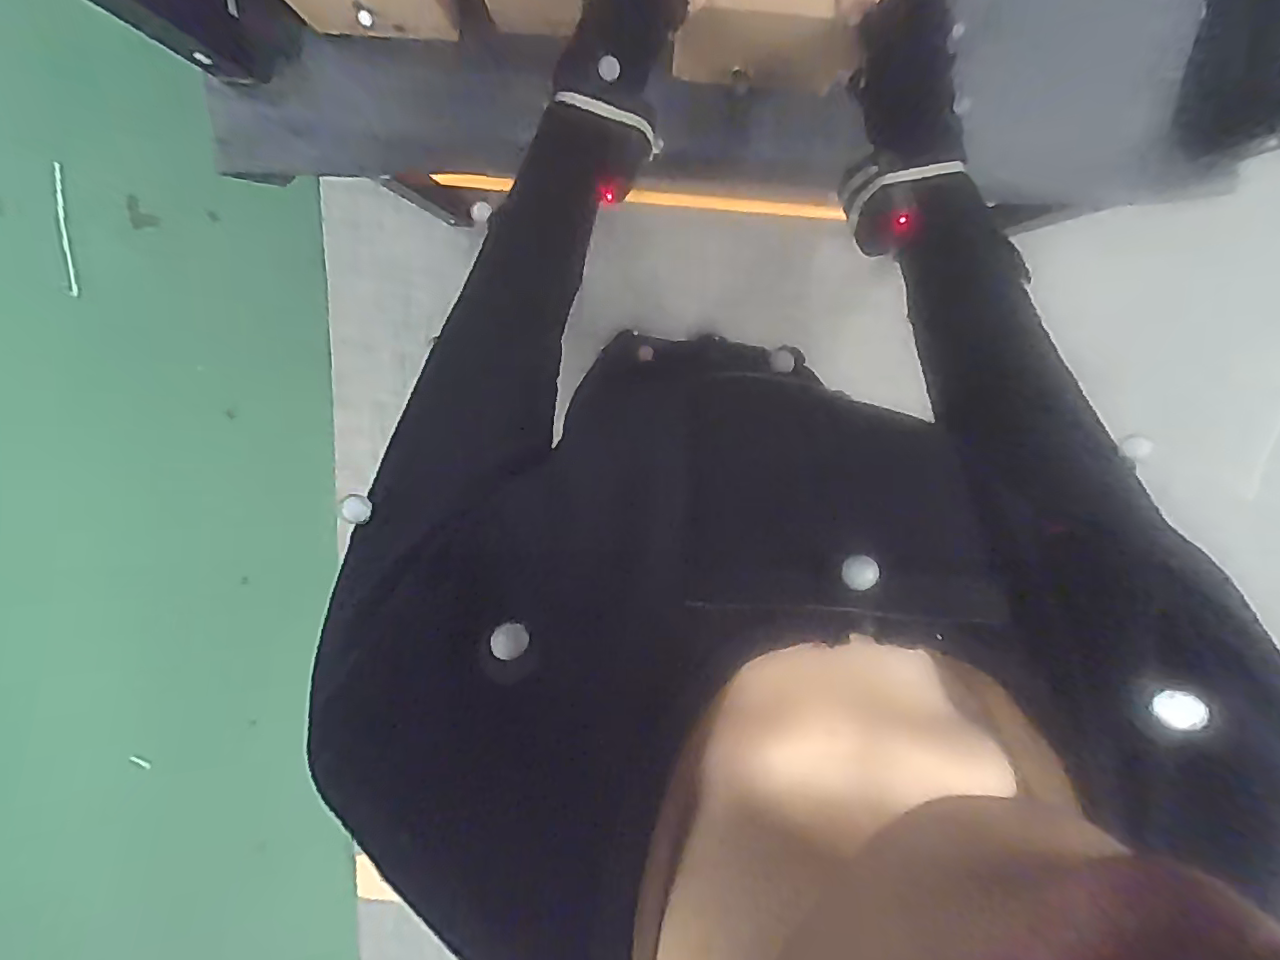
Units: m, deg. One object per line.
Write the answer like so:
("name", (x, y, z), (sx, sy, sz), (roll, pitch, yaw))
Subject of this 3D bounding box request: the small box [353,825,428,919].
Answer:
("small box", (-0.785, 1.235, 1.712), (0.168, 0.176, 0.179), (7, 104, -1))

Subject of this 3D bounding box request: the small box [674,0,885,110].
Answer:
("small box", (0.121, -0.467, 0.484), (0.168, 0.176, 0.179), (6, 108, 1))

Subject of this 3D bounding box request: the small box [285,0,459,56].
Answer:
("small box", (-0.283, -0.561, 0.525), (0.168, 0.176, 0.179), (3, 103, 0))
